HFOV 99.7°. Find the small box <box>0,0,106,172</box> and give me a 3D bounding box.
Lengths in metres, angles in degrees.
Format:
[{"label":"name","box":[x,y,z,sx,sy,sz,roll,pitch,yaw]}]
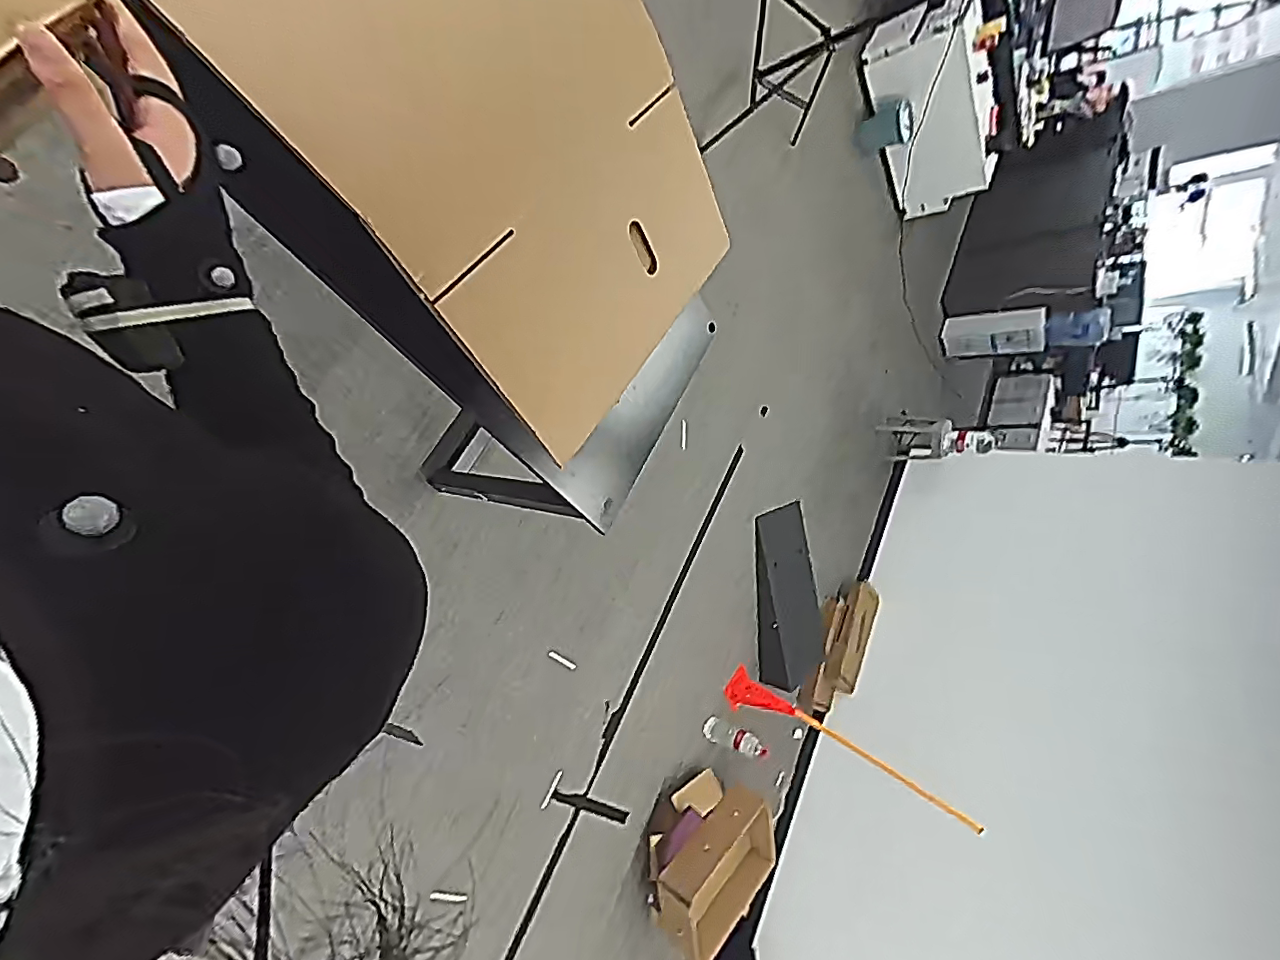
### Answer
[{"label":"small box","box":[-0.436,-0.247,0.269,0.168,0.176,0.179,43,60,-43]}]
